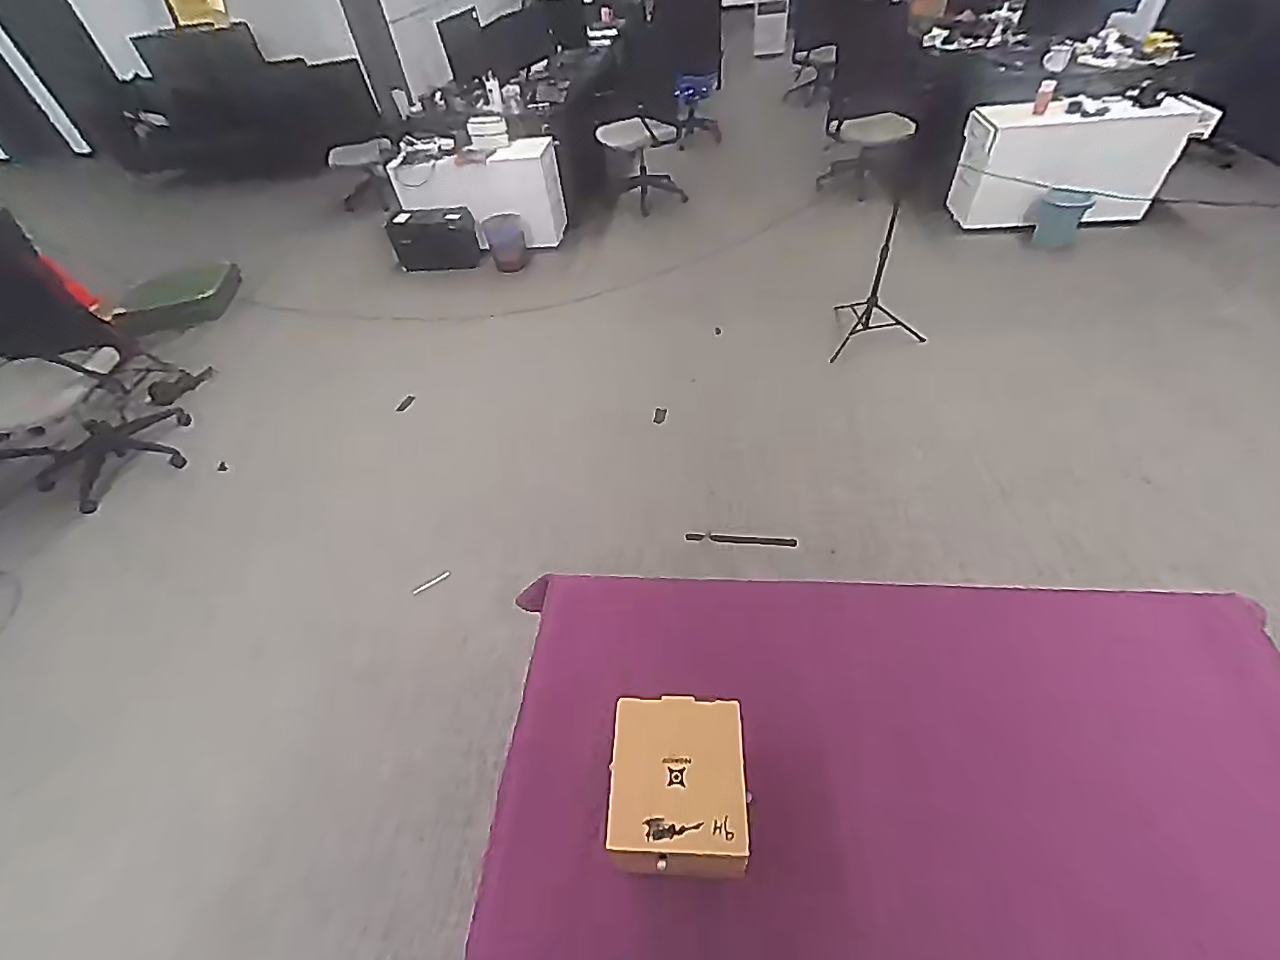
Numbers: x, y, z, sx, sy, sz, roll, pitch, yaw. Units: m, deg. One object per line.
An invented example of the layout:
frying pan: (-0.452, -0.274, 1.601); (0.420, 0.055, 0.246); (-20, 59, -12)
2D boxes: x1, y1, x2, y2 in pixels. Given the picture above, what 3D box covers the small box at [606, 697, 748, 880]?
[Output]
small box: (0.053, 0.415, 0.730); (0.168, 0.176, 0.179); (0, 47, 6)
